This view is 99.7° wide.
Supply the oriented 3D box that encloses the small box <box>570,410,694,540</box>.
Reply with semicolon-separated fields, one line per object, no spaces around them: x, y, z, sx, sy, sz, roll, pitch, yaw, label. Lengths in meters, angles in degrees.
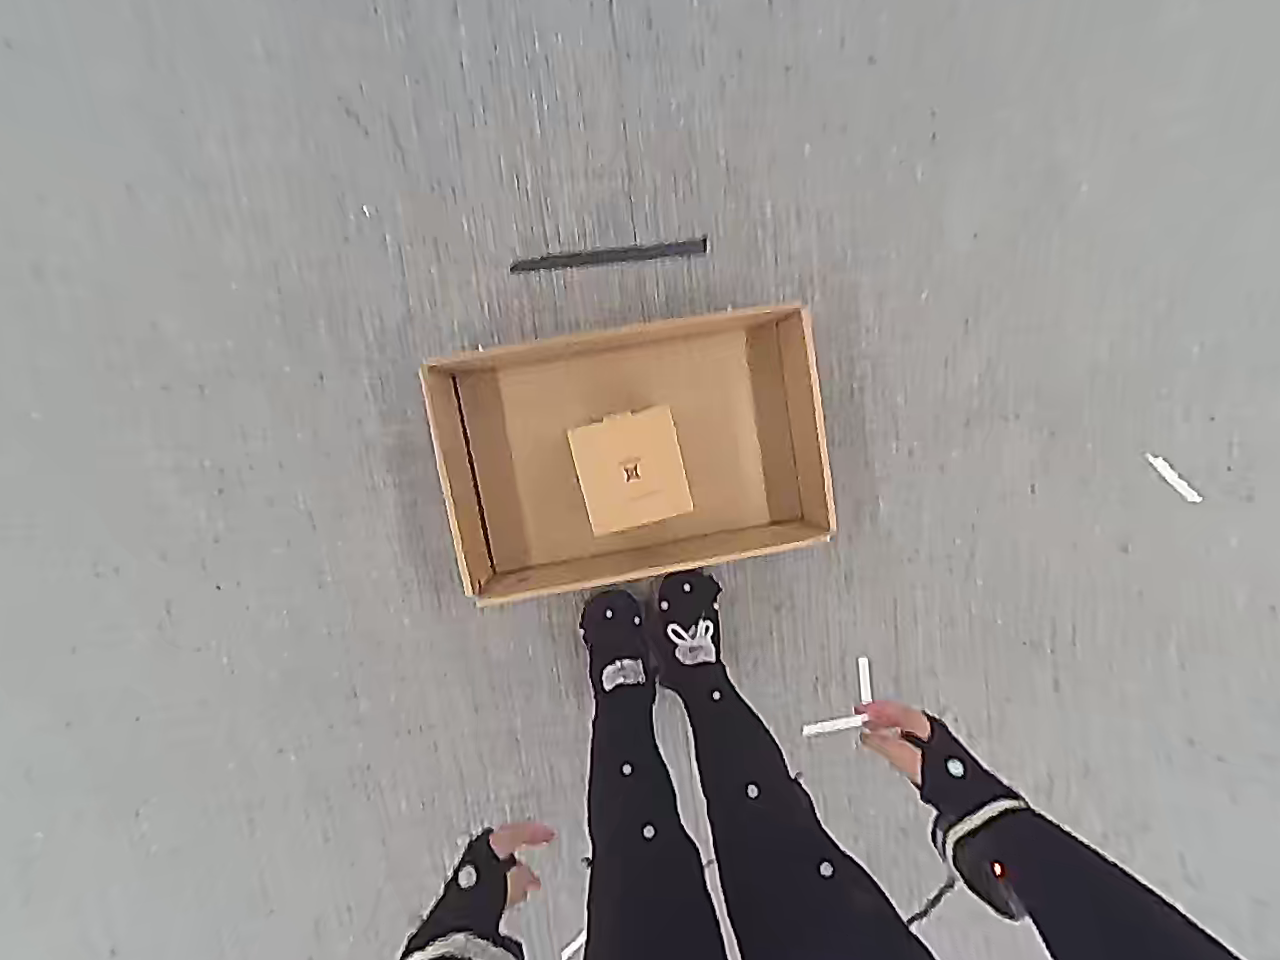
-0.018;-0.014;0.927;0.168;0.176;0.179;-15;97;-2;small box
